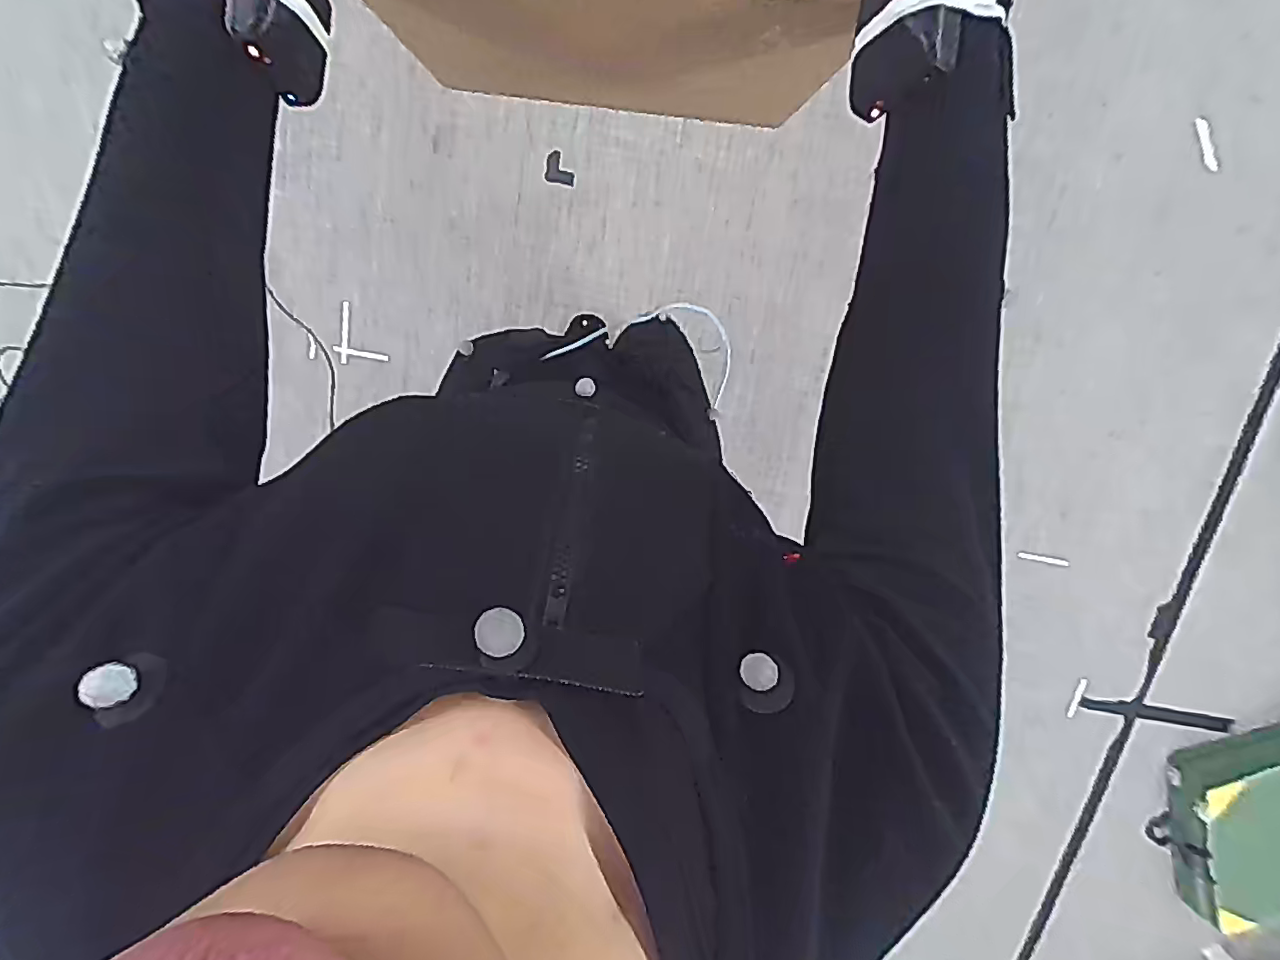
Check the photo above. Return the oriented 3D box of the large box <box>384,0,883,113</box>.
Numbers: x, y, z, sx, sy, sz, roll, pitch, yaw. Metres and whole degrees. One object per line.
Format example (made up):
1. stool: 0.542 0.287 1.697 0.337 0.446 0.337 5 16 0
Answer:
1. large box: -0.012 -0.544 0.453 0.408 0.320 0.320 4 111 -4
